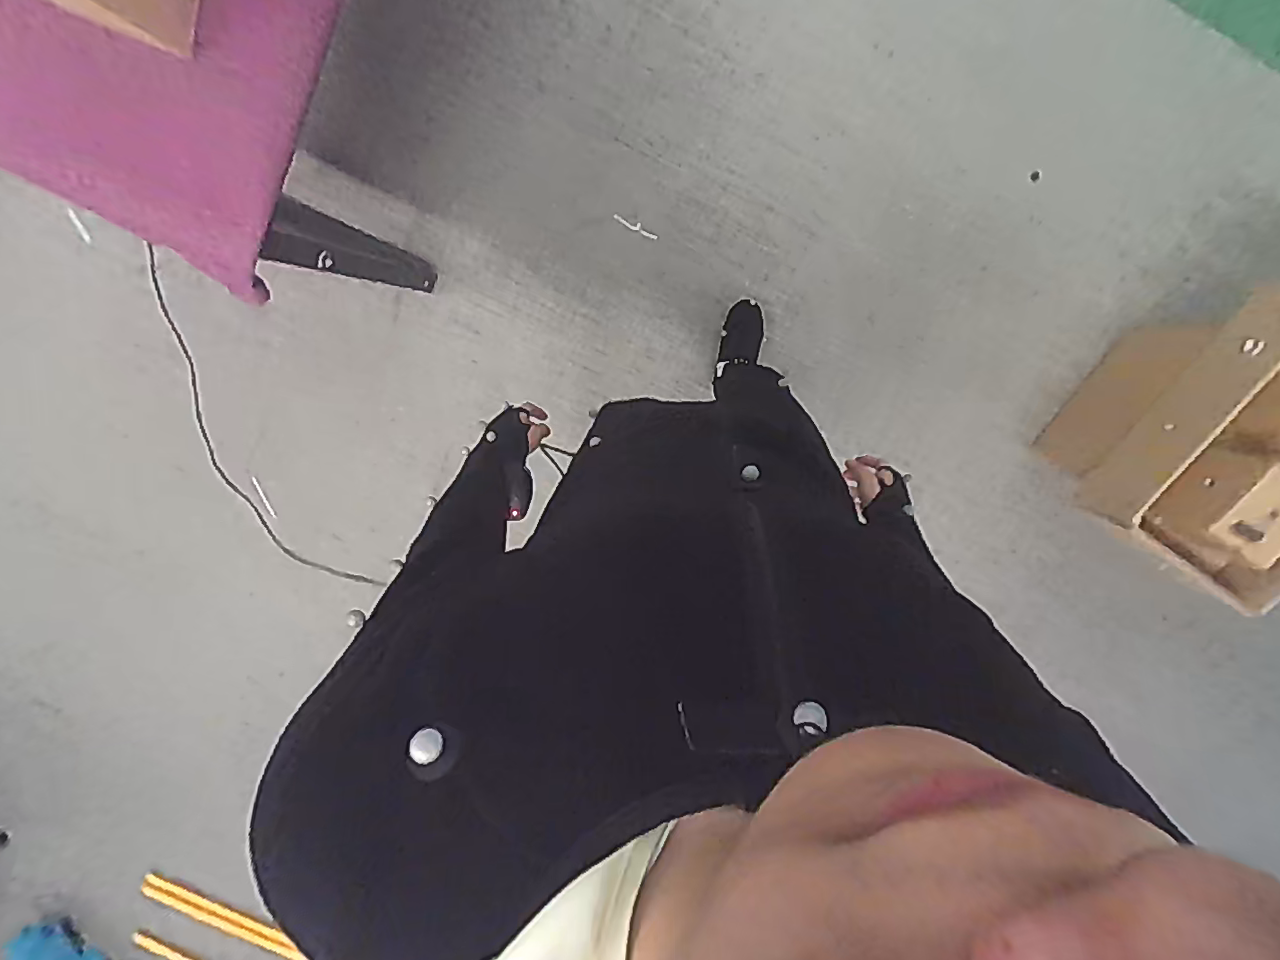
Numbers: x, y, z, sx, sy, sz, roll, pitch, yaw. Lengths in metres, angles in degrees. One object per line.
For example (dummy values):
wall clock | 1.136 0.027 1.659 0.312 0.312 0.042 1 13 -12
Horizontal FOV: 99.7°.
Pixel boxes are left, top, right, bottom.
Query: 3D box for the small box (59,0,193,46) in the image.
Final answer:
small box | -0.678 -0.668 0.639 0.179 0.176 0.168 22 104 -4

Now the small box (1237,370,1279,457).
small box | 1.419 -0.140 1.108 0.168 0.176 0.179 33 102 -7
